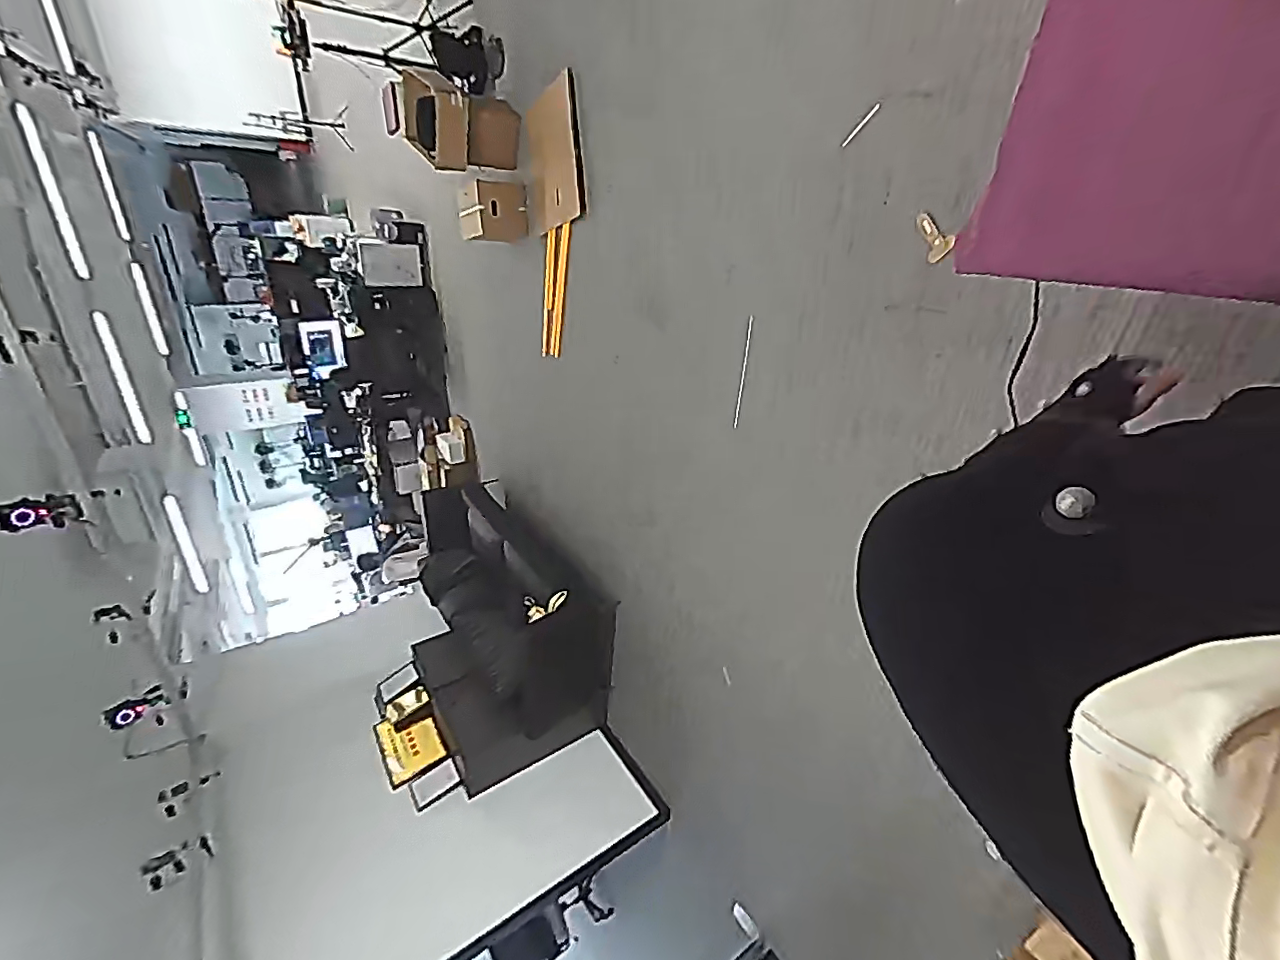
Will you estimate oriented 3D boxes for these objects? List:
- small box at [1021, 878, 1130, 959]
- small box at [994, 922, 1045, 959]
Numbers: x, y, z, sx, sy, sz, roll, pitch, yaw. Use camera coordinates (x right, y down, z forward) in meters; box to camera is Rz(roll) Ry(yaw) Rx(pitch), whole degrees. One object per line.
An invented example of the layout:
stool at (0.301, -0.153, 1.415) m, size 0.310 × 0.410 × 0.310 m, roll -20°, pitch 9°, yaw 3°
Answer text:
small box at (1.259, 1.310, 1.561) m, size 0.168 × 0.176 × 0.179 m, roll 38°, pitch 133°, yaw 44°
small box at (1.234, 1.551, 1.697) m, size 0.168 × 0.176 × 0.179 m, roll 39°, pitch 134°, yaw 44°
